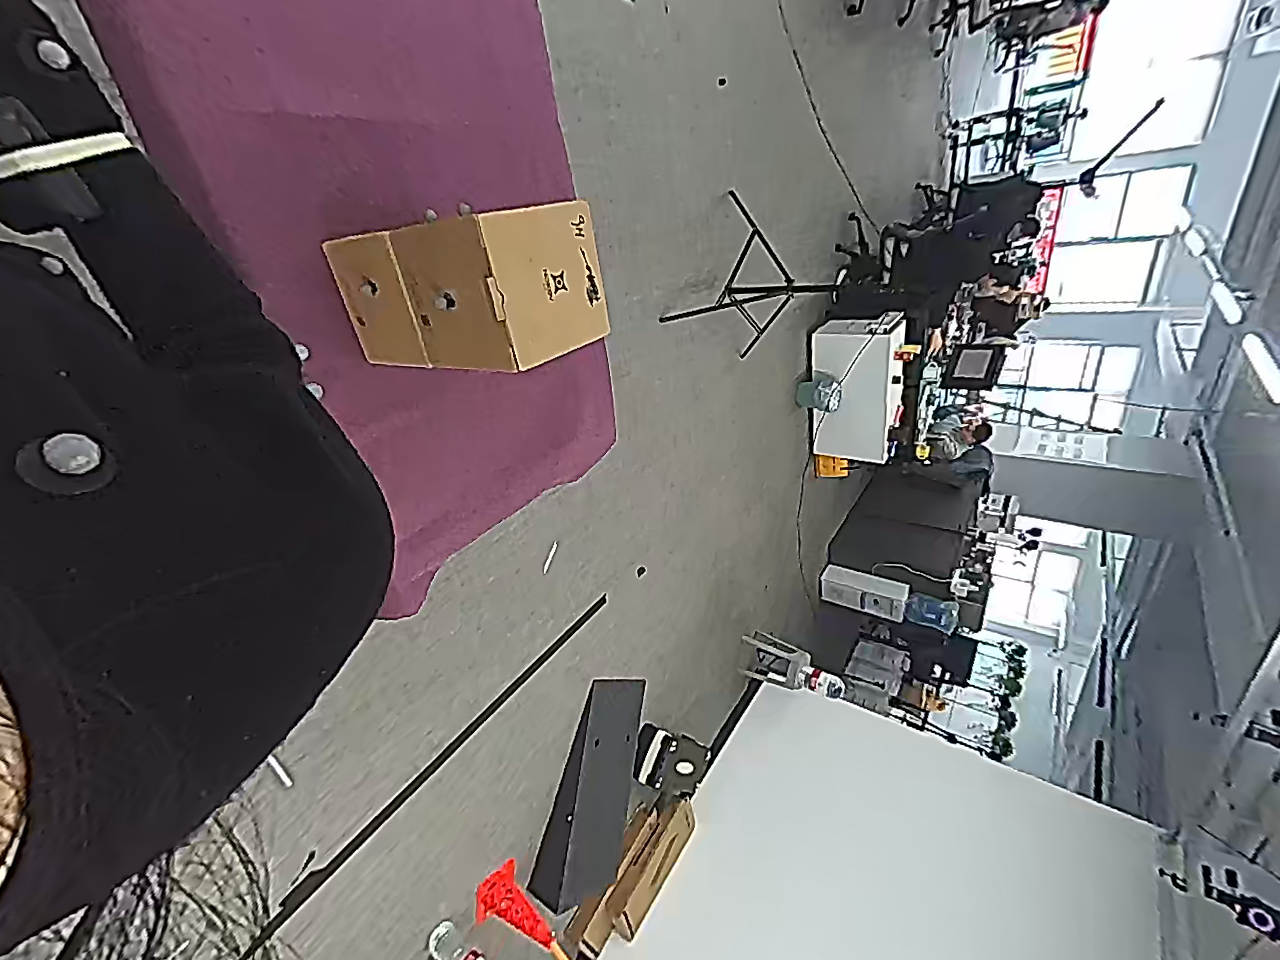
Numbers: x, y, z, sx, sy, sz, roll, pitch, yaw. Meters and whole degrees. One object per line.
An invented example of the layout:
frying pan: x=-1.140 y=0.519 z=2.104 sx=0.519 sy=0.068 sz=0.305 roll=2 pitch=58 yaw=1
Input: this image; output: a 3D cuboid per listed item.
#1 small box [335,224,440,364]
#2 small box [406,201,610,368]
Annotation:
small box: x=-0.301 y=-0.271 z=0.773 sx=0.179 sy=0.176 sz=0.168 roll=-39 pitch=129 yaw=-43
small box: x=-0.167 y=-0.245 z=0.683 sx=0.179 sy=0.176 sz=0.168 roll=-37 pitch=128 yaw=-43
